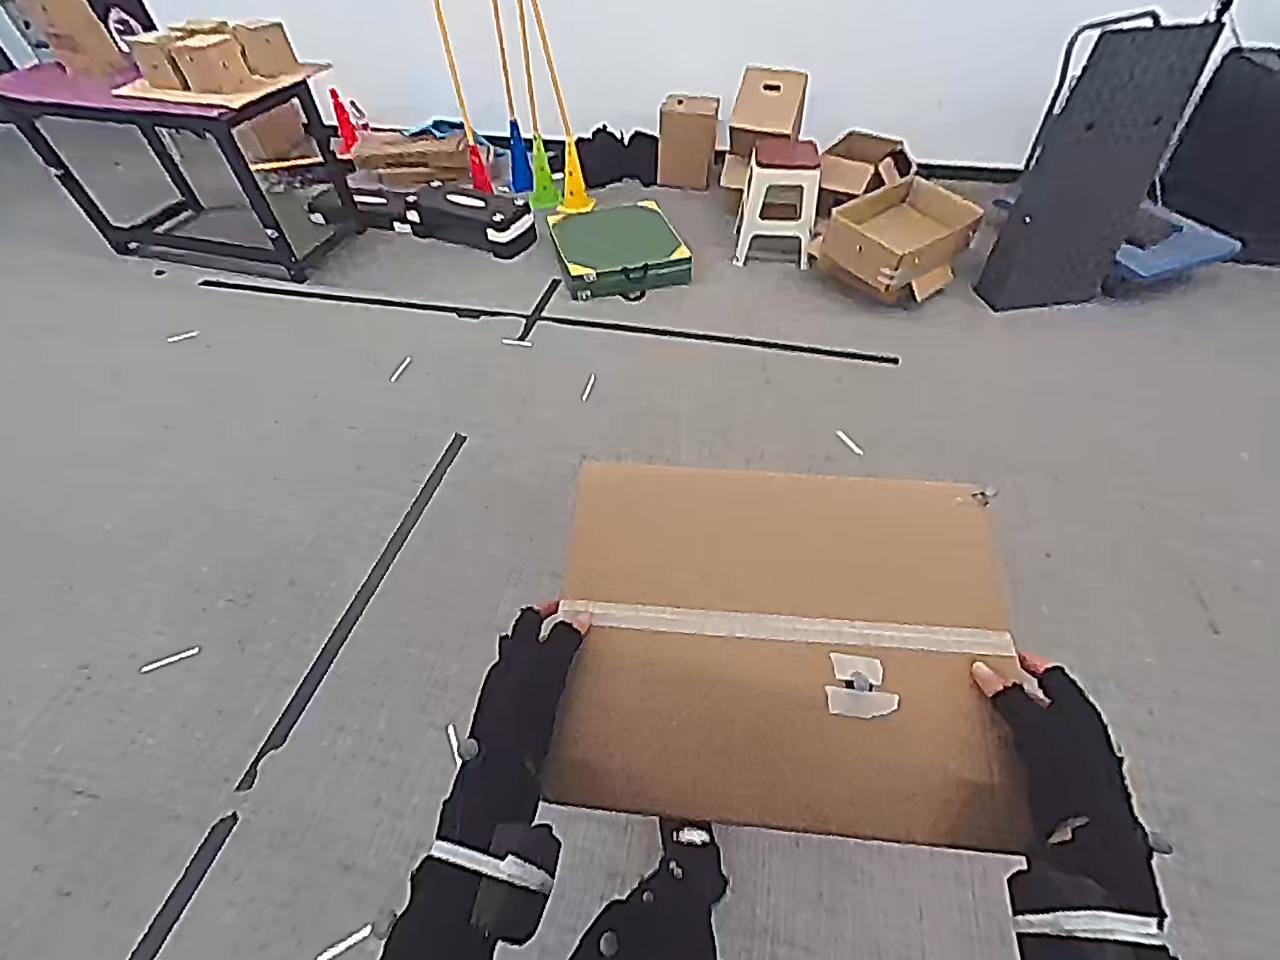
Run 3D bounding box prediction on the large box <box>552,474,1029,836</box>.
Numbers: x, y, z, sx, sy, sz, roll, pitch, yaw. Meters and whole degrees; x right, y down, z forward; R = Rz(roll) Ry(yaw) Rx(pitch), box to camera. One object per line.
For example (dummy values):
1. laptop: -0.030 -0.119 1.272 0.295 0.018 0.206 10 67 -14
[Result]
1. large box: 0.135 0.204 0.647 0.408 0.320 0.320 4 66 4
